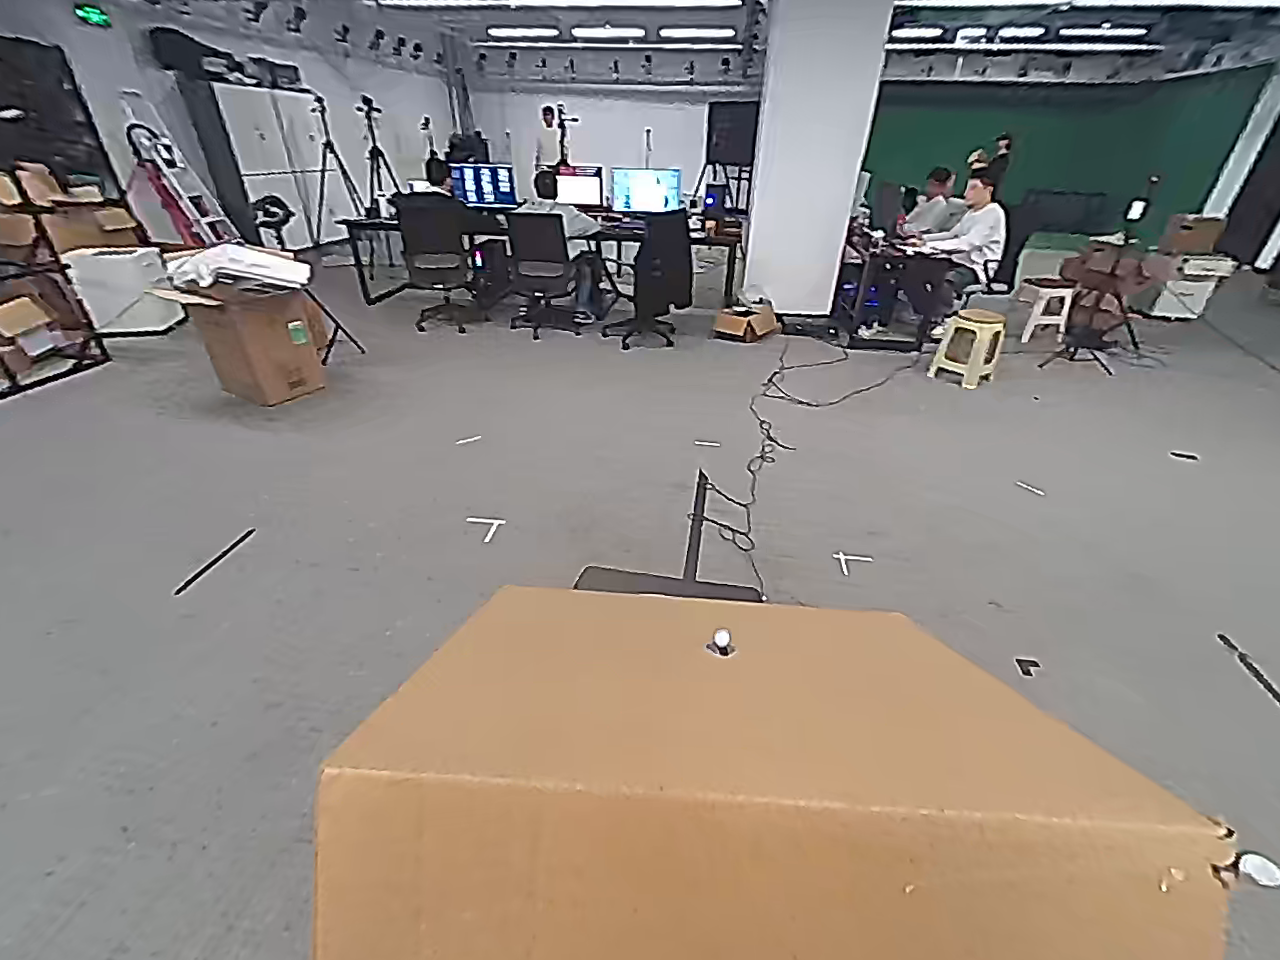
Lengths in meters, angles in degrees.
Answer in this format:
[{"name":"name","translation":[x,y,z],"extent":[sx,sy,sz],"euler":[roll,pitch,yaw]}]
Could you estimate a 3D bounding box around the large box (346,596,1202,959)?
[{"name":"large box","translation":[0.055,0.282,0.408],"extent":[0.408,0.320,0.320],"euler":[3,5,0]}]
